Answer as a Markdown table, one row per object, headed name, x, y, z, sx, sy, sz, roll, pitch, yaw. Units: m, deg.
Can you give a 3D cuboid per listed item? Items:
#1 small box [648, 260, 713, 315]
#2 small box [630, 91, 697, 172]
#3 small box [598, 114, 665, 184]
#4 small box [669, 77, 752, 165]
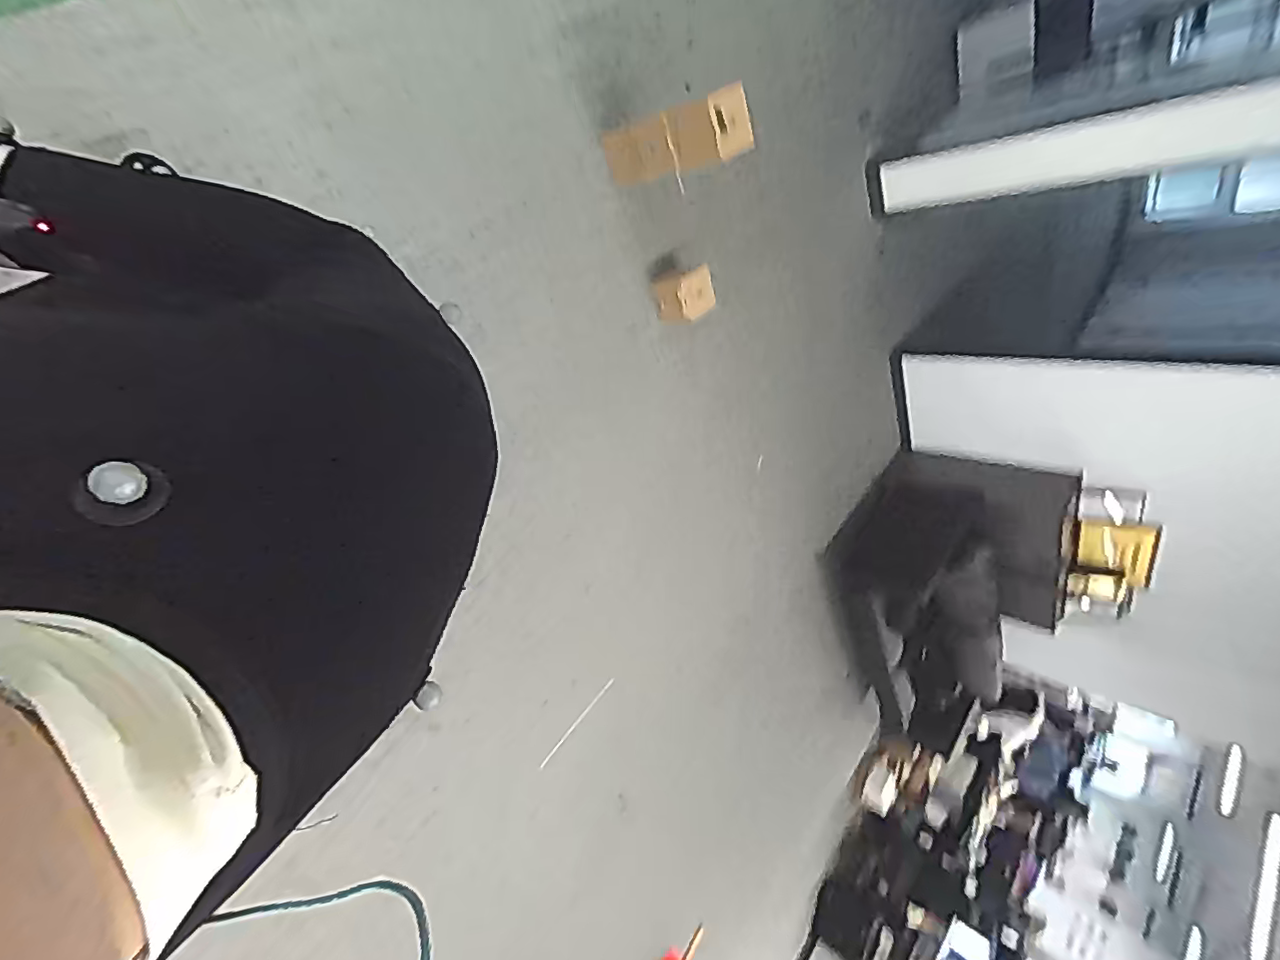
| name | x | y | z | sx | sy | sz | roll | pitch | yaw |
| --- | --- | --- | --- | --- | --- | --- | --- | --- | --- |
| small box | 0.162 | -0.763 | 2.146 | 0.179 | 0.176 | 0.168 | -33 | 121 | -31 |
| small box | 0.088 | -1.118 | 1.745 | 0.179 | 0.176 | 0.168 | -39 | 126 | -27 |
| small box | -0.018 | -1.151 | 1.866 | 0.168 | 0.176 | 0.179 | -40 | 126 | -28 |
| small box | 0.206 | -1.081 | 1.636 | 0.179 | 0.176 | 0.168 | -42 | 127 | -27 |
